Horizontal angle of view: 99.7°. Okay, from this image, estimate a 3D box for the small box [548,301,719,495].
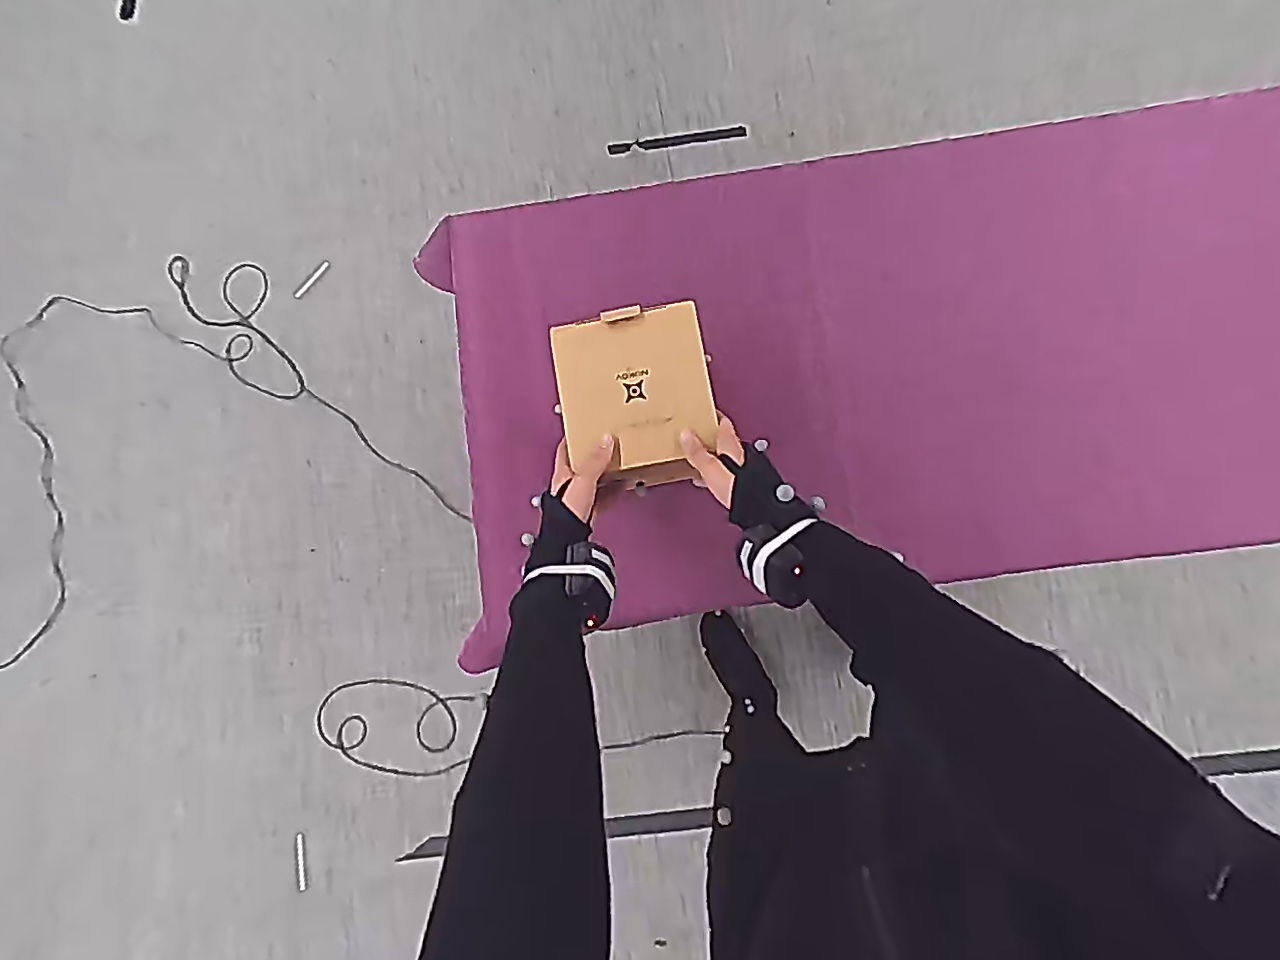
[{"bbox_3d":[-0.005,-0.087,0.656,0.168,0.176,0.179,-10,82,3],"label":"small box"}]
